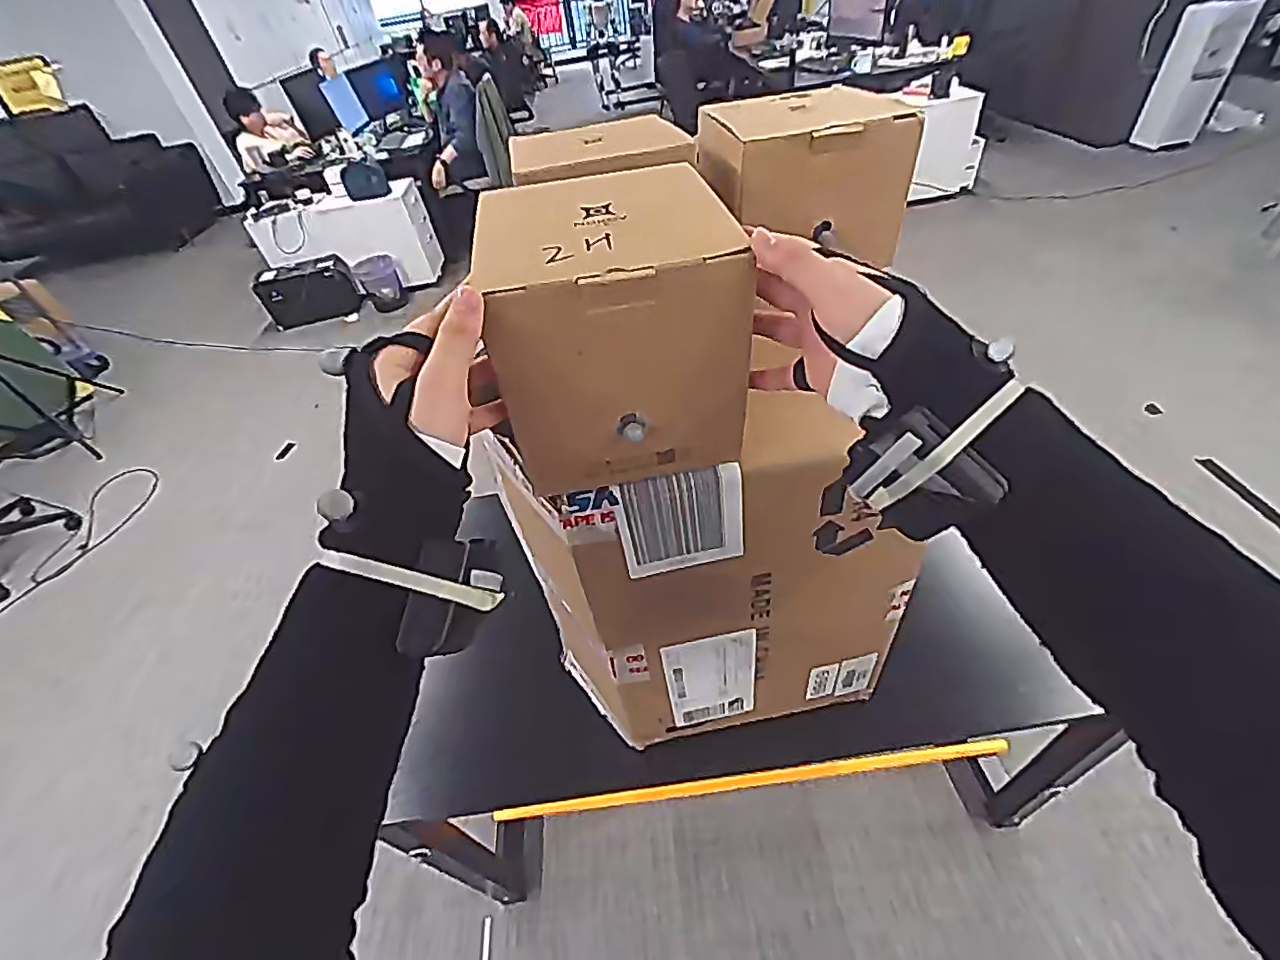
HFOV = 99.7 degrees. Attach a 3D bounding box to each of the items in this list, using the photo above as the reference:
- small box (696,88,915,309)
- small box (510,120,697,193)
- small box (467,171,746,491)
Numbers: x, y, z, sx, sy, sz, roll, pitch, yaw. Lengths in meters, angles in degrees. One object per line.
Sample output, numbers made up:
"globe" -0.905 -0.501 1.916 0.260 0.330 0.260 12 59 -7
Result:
"small box" 0.159 -0.297 0.583 0.168 0.176 0.179 -9 44 -2
"small box" -0.038 -0.270 0.589 0.168 0.176 0.179 -13 43 -4
"small box" -0.024 -0.117 0.424 0.168 0.176 0.179 -11 45 -3
